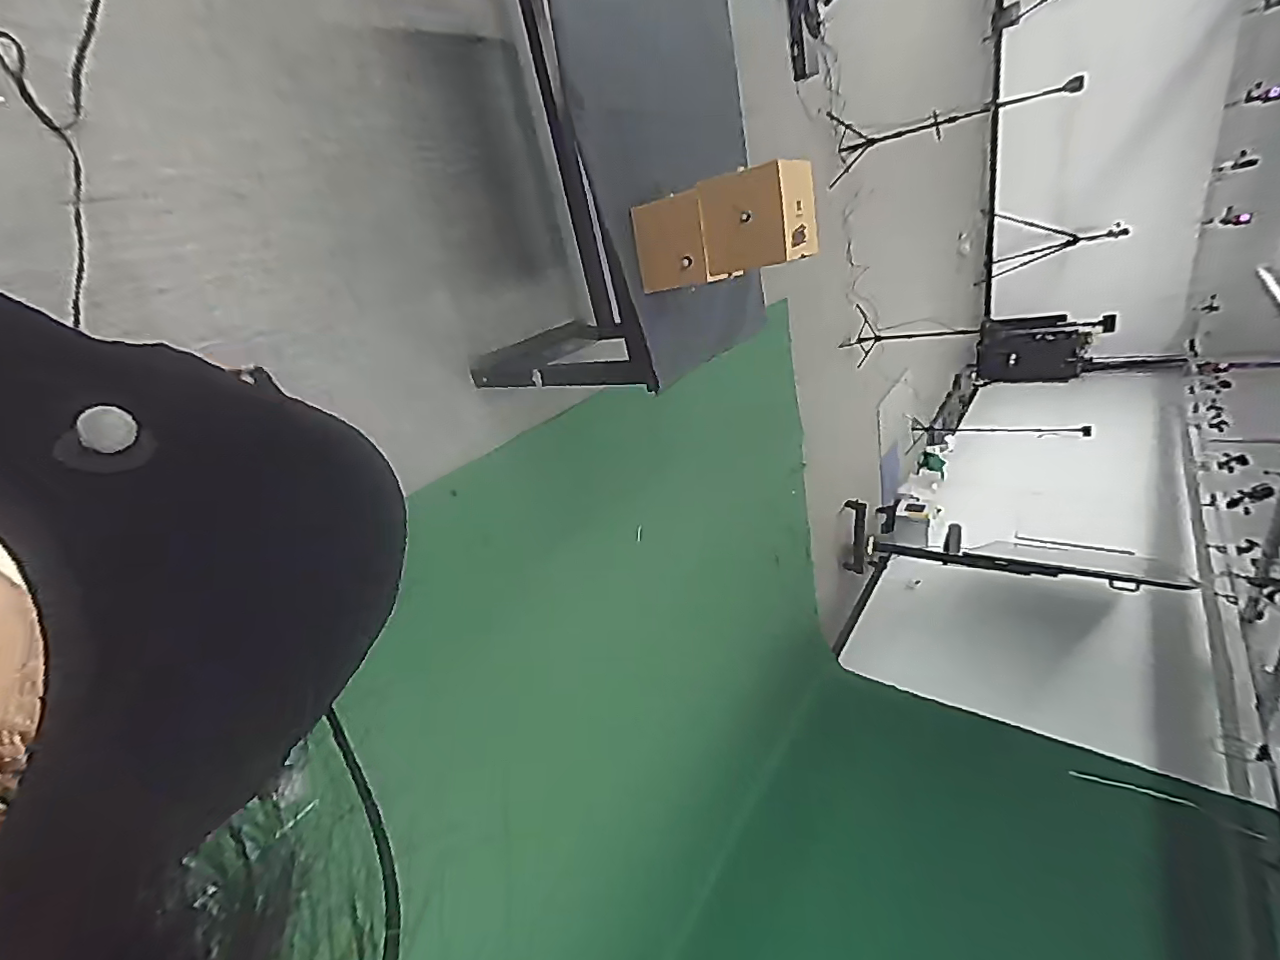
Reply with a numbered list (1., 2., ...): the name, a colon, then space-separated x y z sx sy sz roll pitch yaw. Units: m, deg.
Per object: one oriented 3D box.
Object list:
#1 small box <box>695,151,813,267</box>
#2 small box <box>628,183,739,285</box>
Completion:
1. small box: 0.229 -0.533 1.081 0.168 0.176 0.179 -35 120 -45
2. small box: 0.095 -0.529 1.177 0.168 0.176 0.179 -33 120 -46
